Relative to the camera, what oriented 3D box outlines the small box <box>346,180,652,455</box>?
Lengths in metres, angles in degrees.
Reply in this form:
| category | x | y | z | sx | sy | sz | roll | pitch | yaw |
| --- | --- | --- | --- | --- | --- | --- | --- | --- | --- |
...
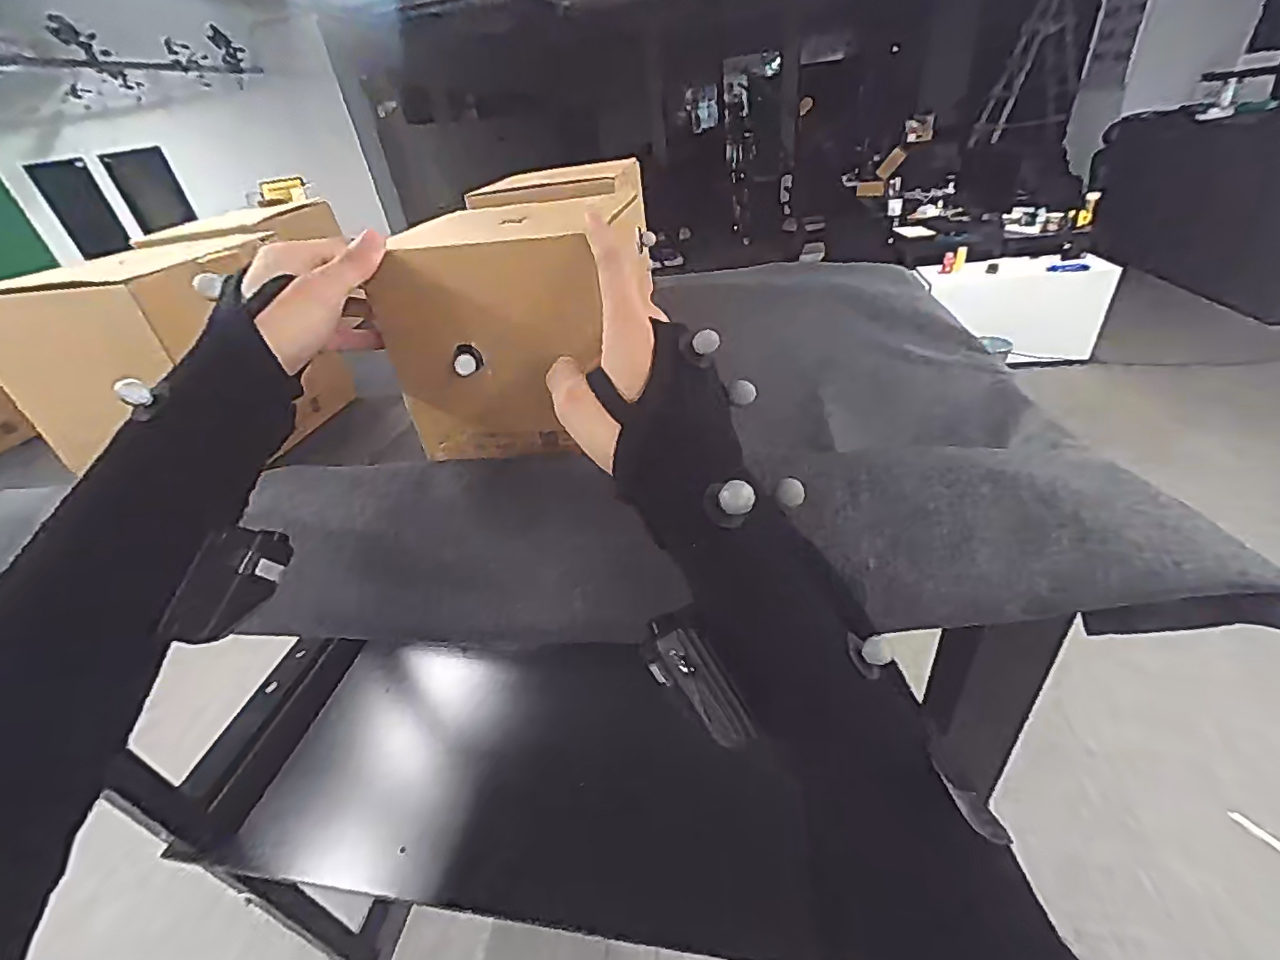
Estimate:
| category | x | y | z | sx | sy | sz | roll | pitch | yaw |
| --- | --- | --- | --- | --- | --- | --- | --- | --- | --- |
| small box | -0.085 | -0.129 | 0.436 | 0.168 | 0.176 | 0.179 | -1 | 33 | 10 |

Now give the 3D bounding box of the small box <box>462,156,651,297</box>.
| category | x | y | z | sx | sy | sz | roll | pitch | yaw |
| --- | --- | --- | --- | --- | --- | --- | --- | --- | --- |
| small box | -0.091 | -0.299 | 0.688 | 0.179 | 0.176 | 0.168 | -1 | 35 | 11 |

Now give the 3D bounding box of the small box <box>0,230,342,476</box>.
| category | x | y | z | sx | sy | sz | roll | pitch | yaw |
| --- | --- | --- | --- | --- | --- | --- | --- | --- | --- |
| small box | -0.412 | -0.114 | 0.485 | 0.179 | 0.176 | 0.168 | 0 | 33 | 10 |

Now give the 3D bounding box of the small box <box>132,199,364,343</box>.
| category | x | y | z | sx | sy | sz | roll | pitch | yaw |
| --- | --- | --- | --- | --- | --- | --- | --- | --- | --- |
| small box | -0.519 | -0.279 | 0.753 | 0.168 | 0.176 | 0.179 | -6 | 34 | 6 |
